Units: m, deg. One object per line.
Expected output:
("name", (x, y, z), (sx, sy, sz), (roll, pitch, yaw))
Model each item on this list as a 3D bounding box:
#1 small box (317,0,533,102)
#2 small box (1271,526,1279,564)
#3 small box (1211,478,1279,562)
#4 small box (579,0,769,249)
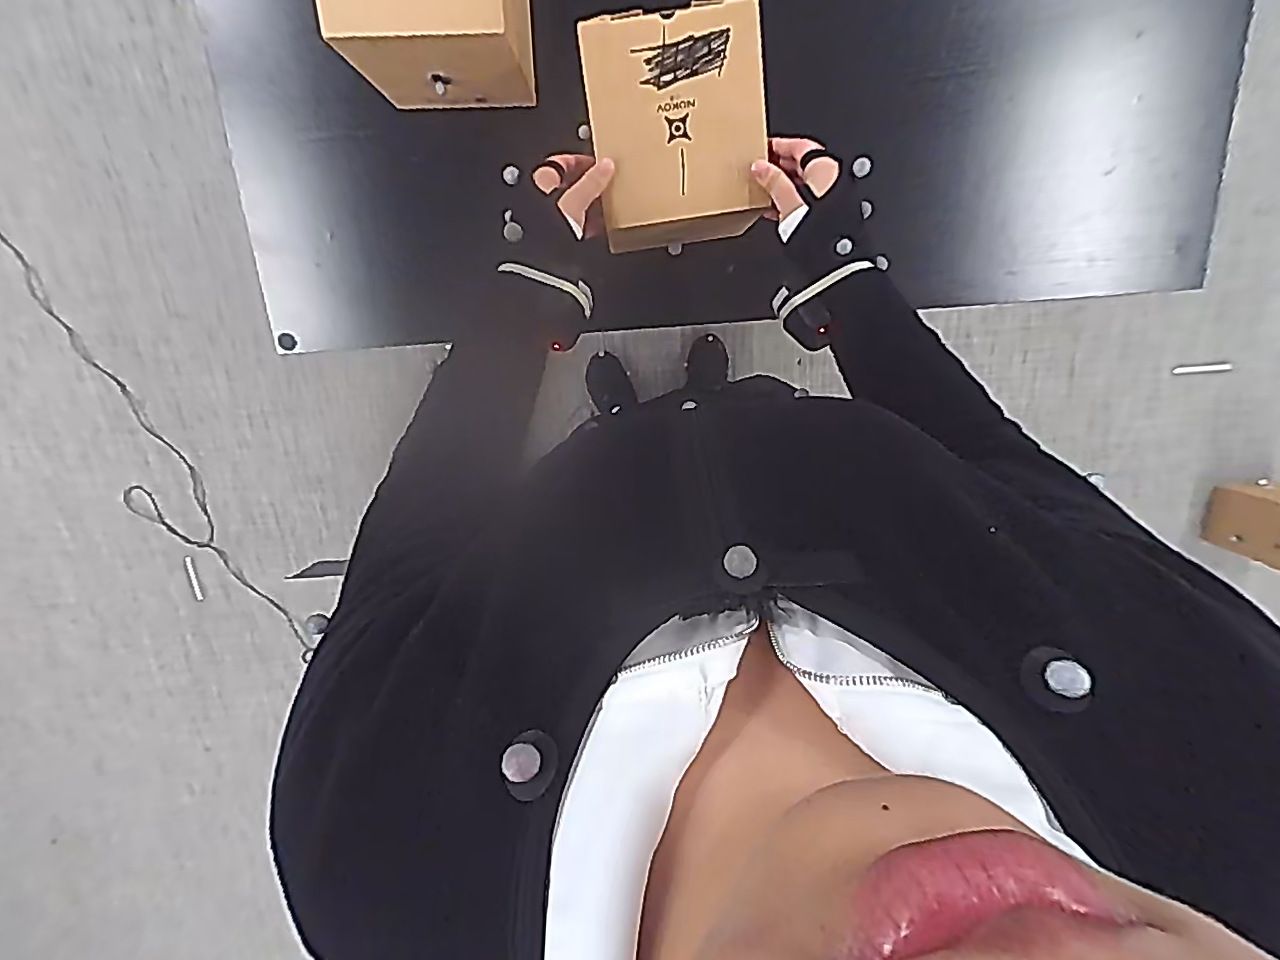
("small box", (-0.207, -0.504, 0.542), (0.168, 0.176, 0.179), (-2, 105, 0))
("small box", (1.720, 0.151, 1.306), (0.179, 0.176, 0.168), (-7, 106, 1))
("small box", (1.721, 0.105, 1.464), (0.168, 0.176, 0.179), (-5, 105, 1))
("small box", (0.034, -0.363, 0.581), (0.168, 0.176, 0.179), (-8, 105, 2))
